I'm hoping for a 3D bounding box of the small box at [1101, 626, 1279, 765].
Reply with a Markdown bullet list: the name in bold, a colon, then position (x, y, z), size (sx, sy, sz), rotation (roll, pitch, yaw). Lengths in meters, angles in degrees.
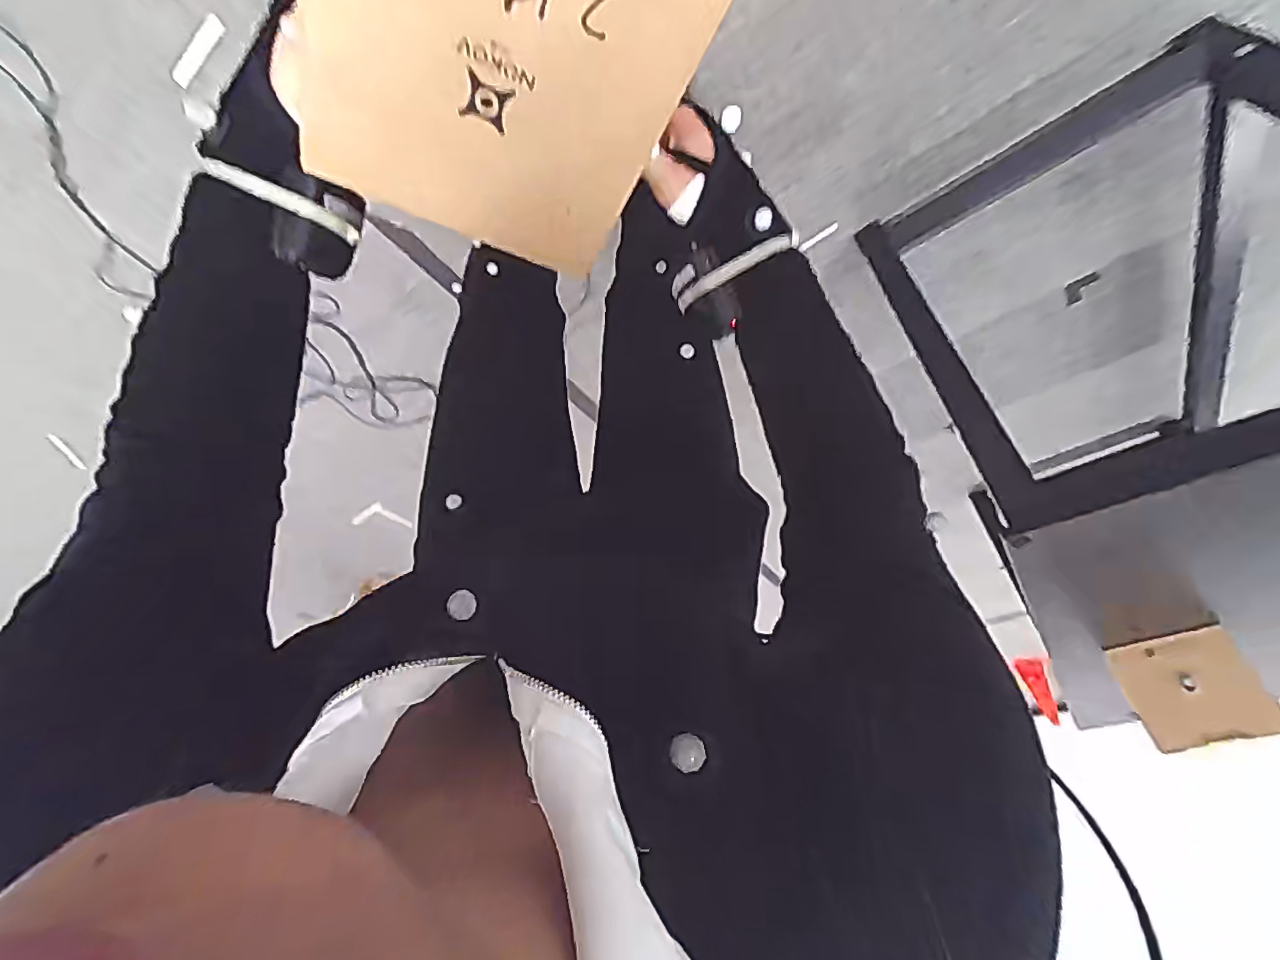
- **small box**: position (0.932, 0.366, 0.922), size (0.168, 0.176, 0.179), rotation (-30, 133, 29)
